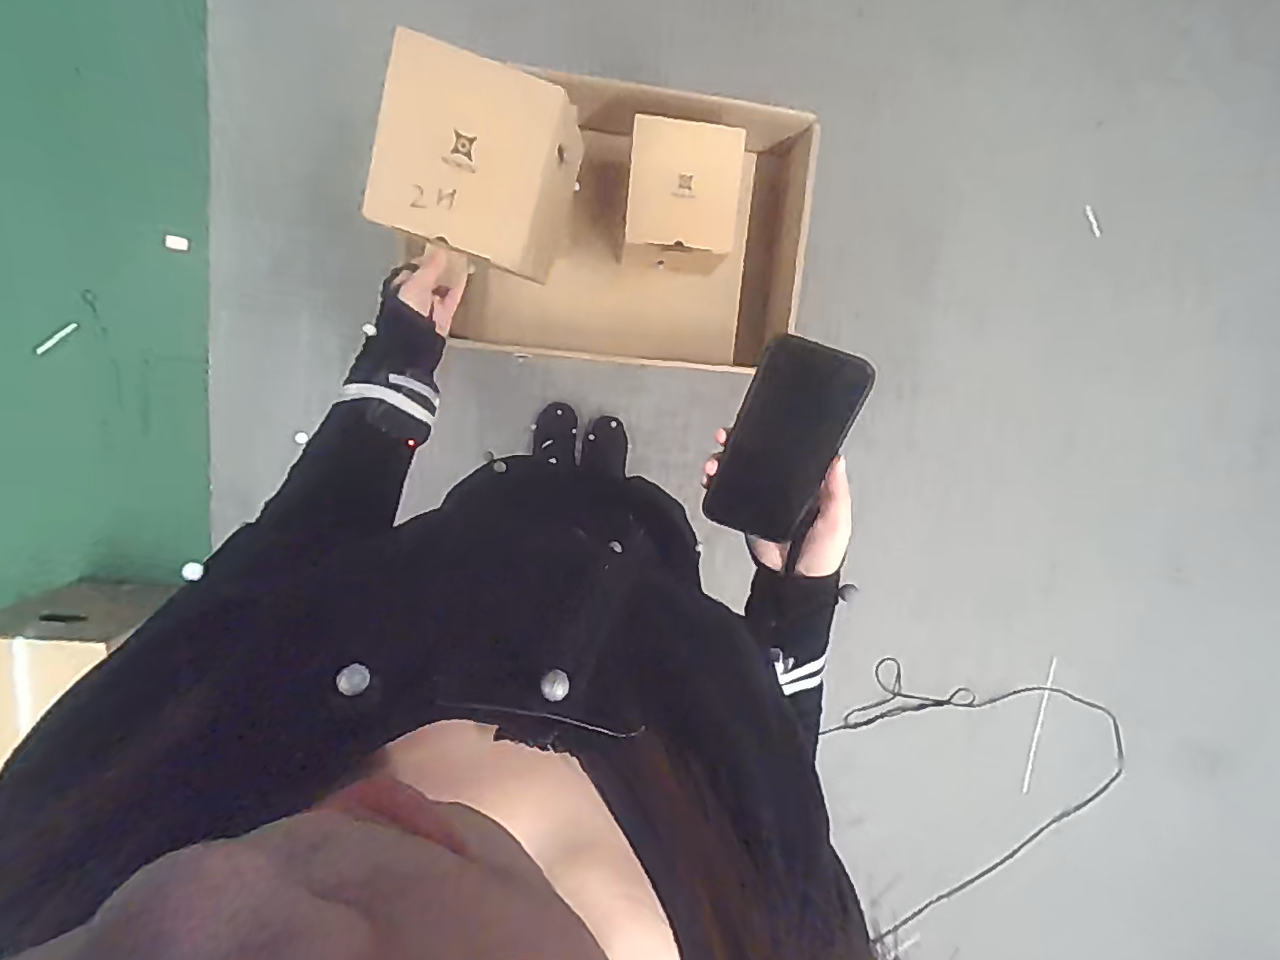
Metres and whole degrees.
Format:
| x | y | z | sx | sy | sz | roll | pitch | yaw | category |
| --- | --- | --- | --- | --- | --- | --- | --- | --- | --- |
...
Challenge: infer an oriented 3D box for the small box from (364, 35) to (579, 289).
| x | y | z | sx | sy | sz | roll | pitch | yaw | category |
| --- | --- | --- | --- | --- | --- | --- | --- | --- | --- |
| -0.173 | -0.332 | 0.607 | 0.168 | 0.176 | 0.179 | 19 | 105 | -3 | small box |

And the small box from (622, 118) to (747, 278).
| x | y | z | sx | sy | sz | roll | pitch | yaw | category |
| --- | --- | --- | --- | --- | --- | --- | --- | --- | --- |
| 0.061 | -0.440 | 0.871 | 0.168 | 0.176 | 0.179 | 5 | 101 | -5 | small box |
